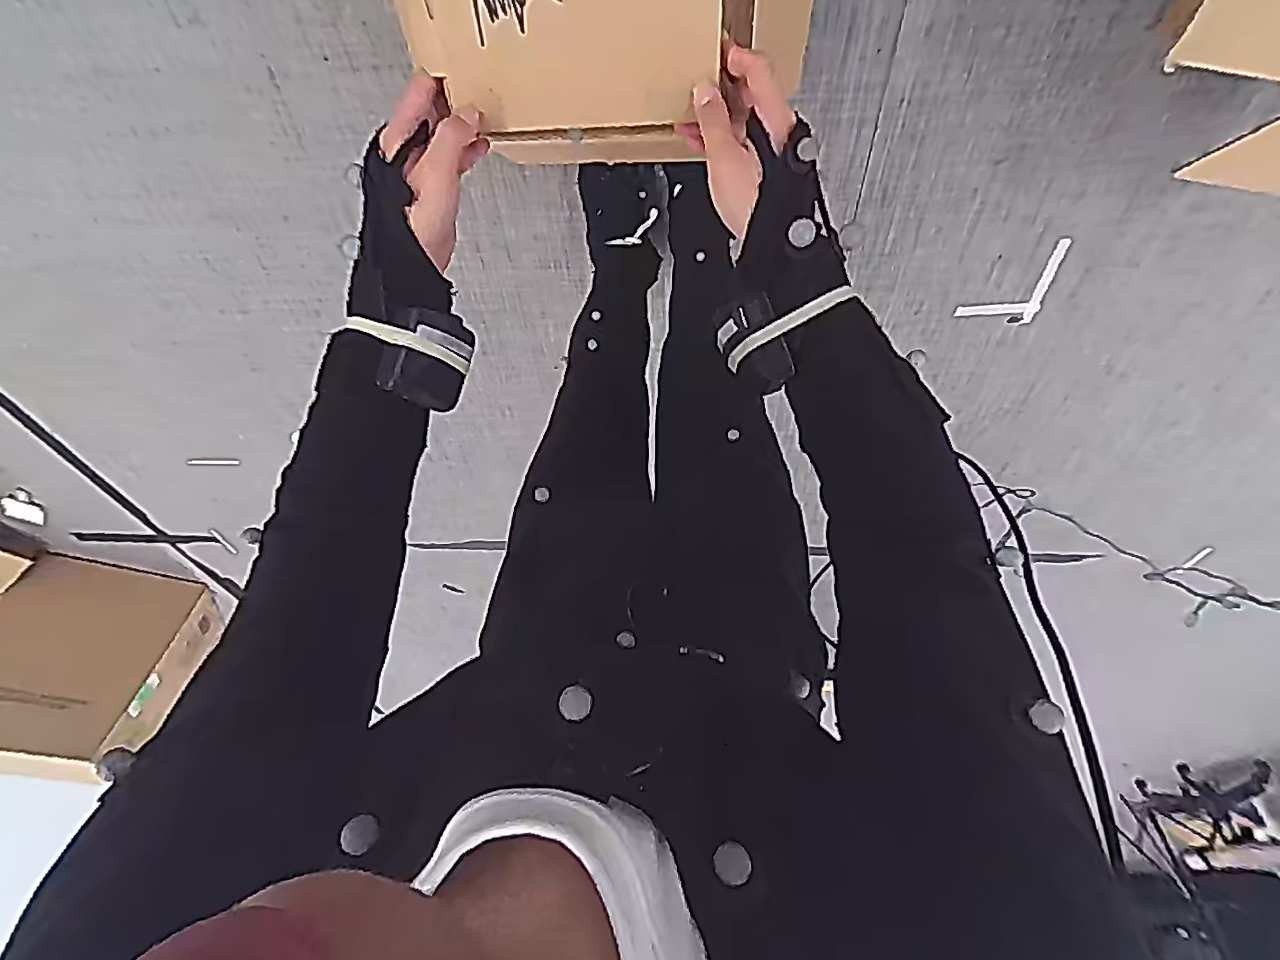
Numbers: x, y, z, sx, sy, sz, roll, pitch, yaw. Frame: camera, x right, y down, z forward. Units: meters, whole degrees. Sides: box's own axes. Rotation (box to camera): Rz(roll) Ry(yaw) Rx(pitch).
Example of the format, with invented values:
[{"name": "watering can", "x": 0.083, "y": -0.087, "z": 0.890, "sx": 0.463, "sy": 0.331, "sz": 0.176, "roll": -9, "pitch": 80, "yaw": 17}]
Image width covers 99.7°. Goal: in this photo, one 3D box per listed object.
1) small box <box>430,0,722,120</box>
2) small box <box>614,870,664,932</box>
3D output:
[{"name": "small box", "x": -0.037, "y": -0.352, "z": 0.363, "sx": 0.179, "sy": 0.176, "sz": 0.168, "roll": -1, "pitch": 132, "yaw": 2}, {"name": "small box", "x": -0.001, "y": 1.593, "z": 2.051, "sx": 0.179, "sy": 0.176, "sz": 0.168, "roll": 0, "pitch": 137, "yaw": 4}]
